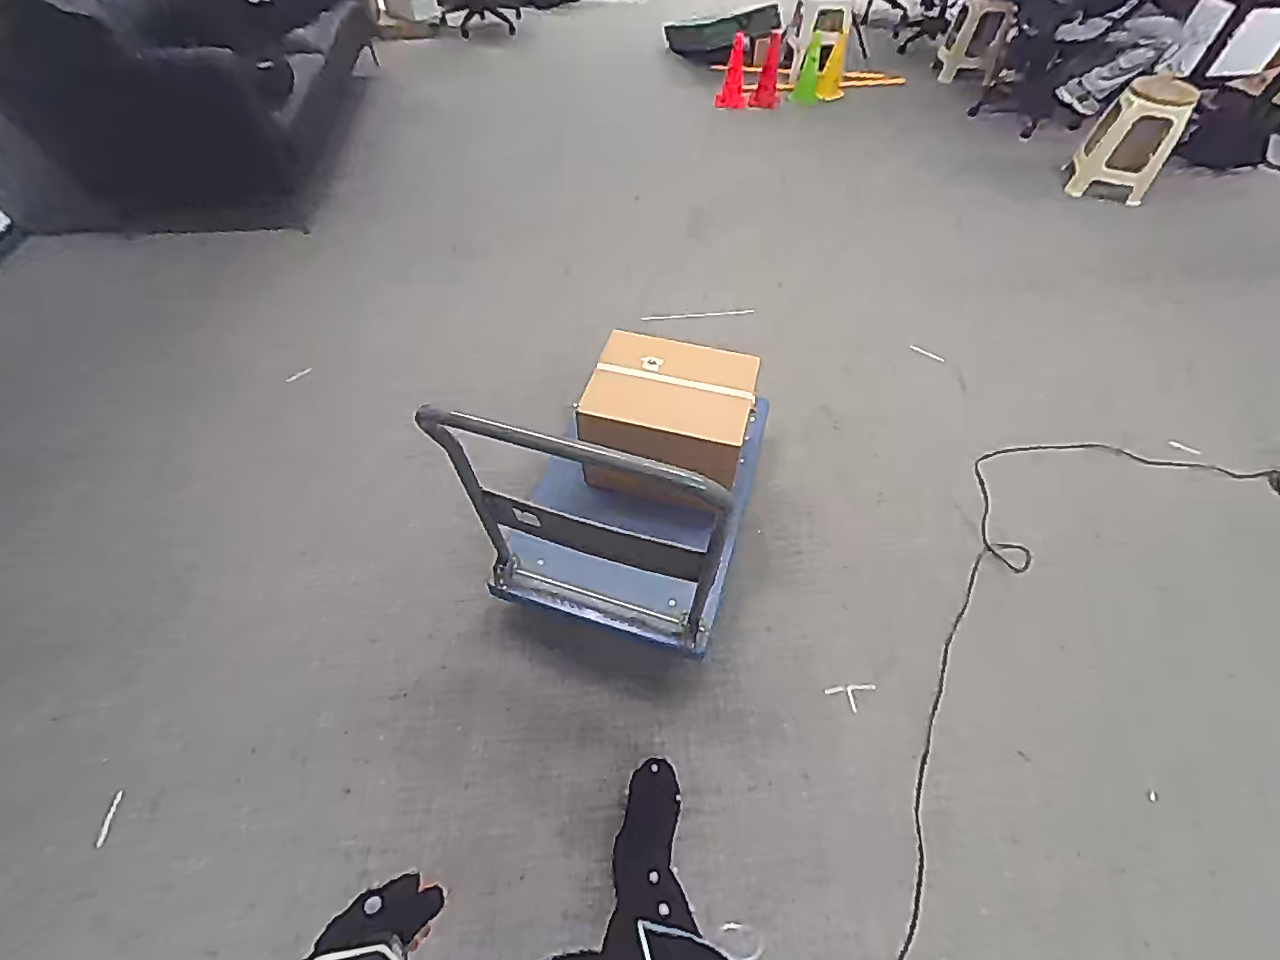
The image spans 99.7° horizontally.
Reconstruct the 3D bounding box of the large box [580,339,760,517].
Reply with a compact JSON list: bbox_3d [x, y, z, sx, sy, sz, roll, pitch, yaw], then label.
[{"bbox_3d":[0.086,-0.138,1.477,0.408,0.320,0.320,13,54,10],"label":"large box"}]
